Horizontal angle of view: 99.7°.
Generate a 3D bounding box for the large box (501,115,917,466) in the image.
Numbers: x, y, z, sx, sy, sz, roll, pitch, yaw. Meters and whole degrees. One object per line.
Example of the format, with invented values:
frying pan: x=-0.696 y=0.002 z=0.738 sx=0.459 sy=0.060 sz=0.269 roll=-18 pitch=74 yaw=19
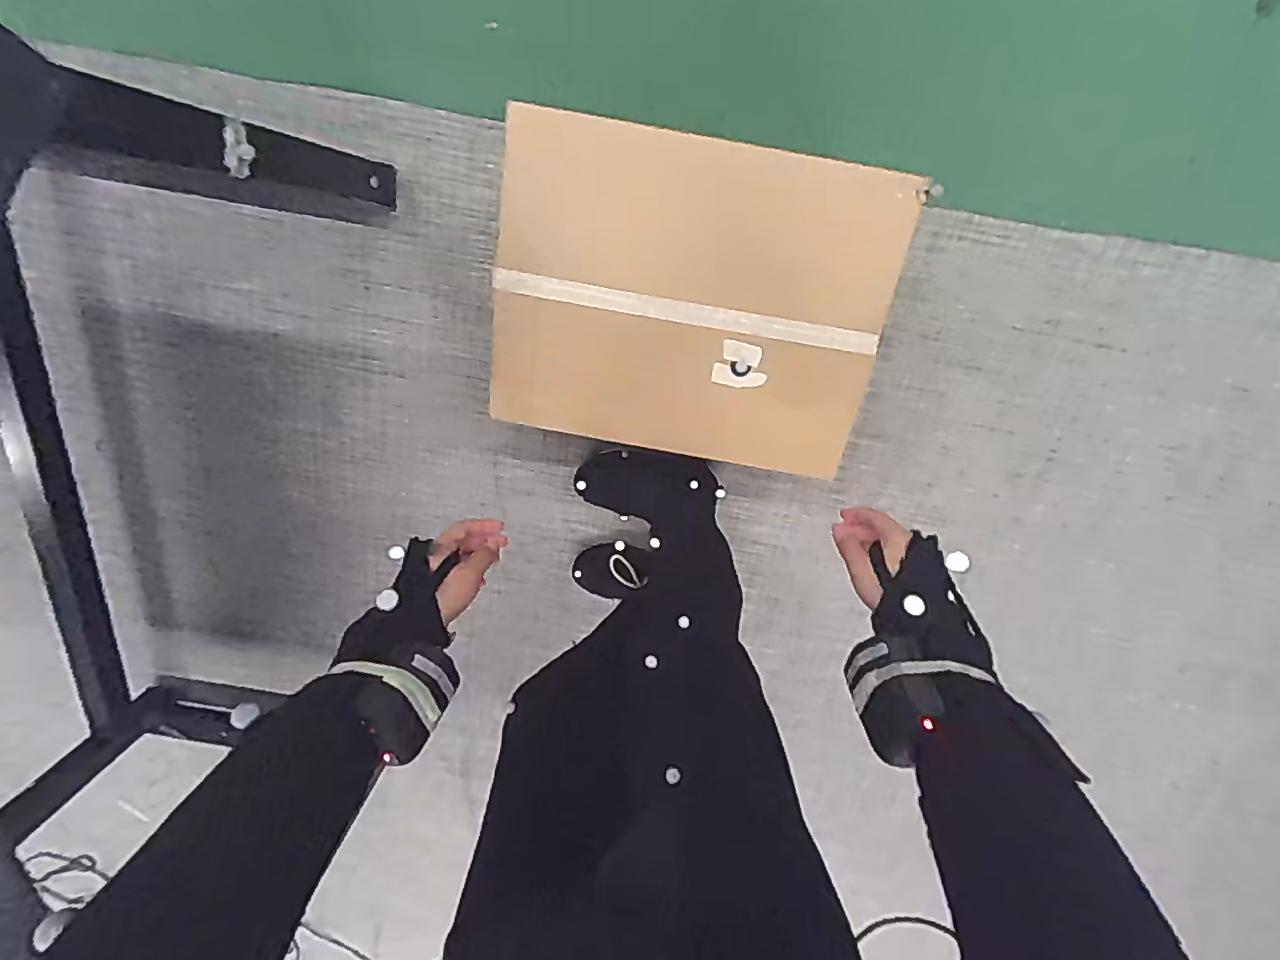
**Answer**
large box: x=0.059 y=-0.236 z=0.714 sx=0.408 sy=0.320 sz=0.320 roll=9 pitch=112 yaw=-1
